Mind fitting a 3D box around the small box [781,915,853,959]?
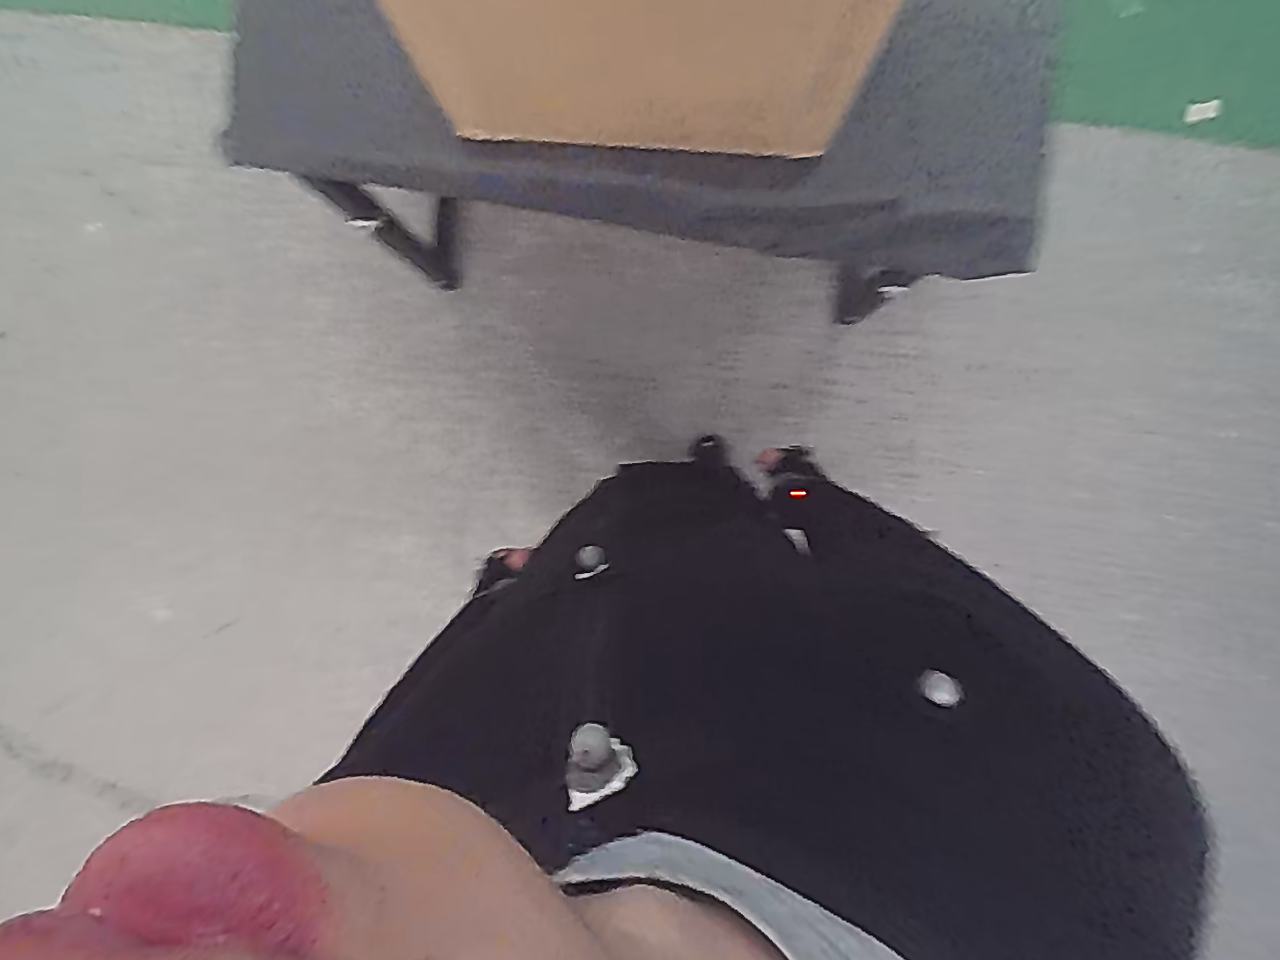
[{"bbox_3d":[0.499,1.375,1.512,0.168,0.176,0.179,4,92,0],"label":"small box"}]
